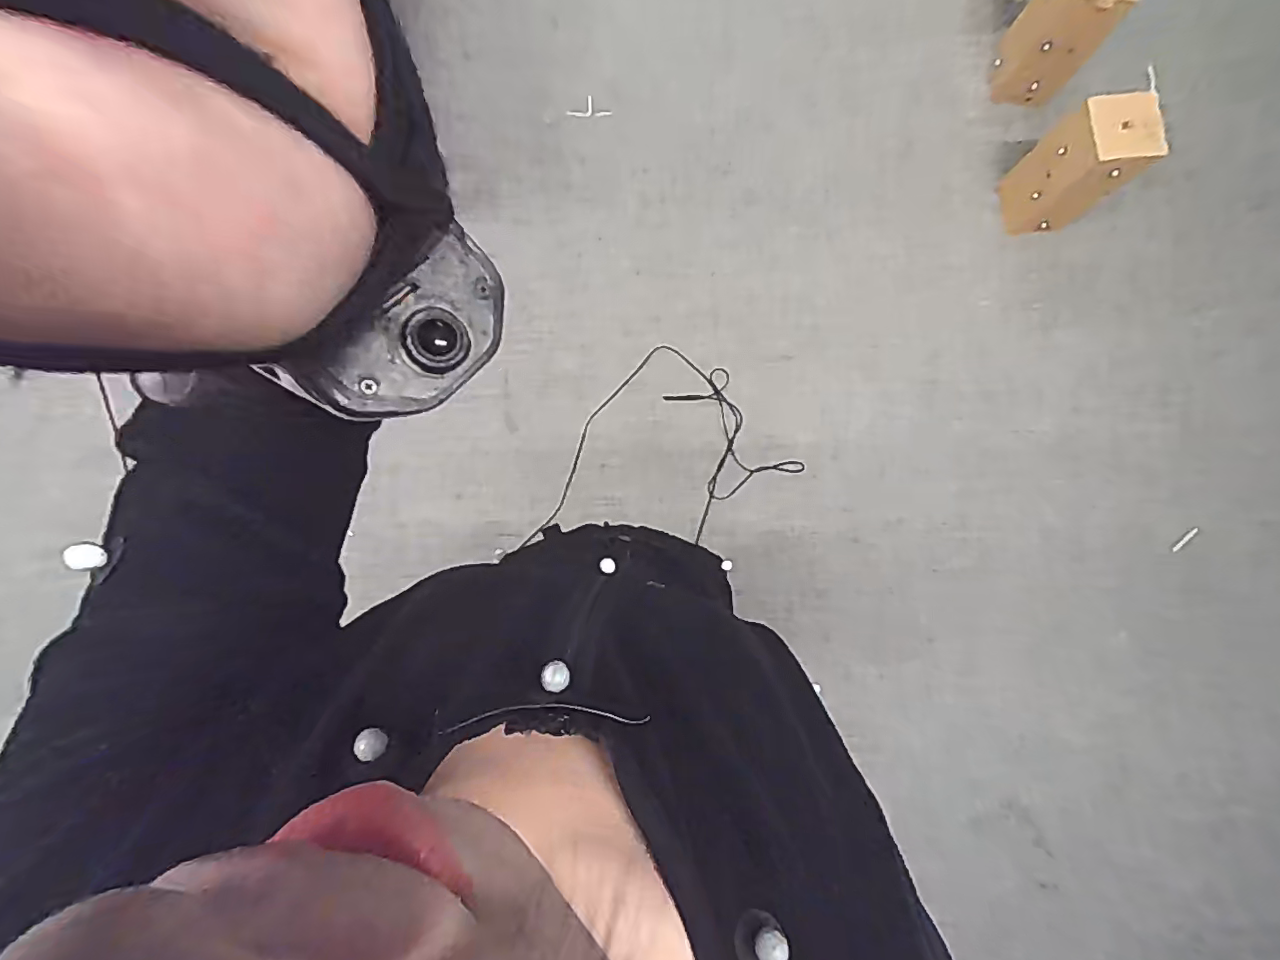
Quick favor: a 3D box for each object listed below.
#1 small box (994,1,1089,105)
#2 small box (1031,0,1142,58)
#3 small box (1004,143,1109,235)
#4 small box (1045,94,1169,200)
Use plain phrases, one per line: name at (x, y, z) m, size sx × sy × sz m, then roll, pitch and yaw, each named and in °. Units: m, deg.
small box at (1.172, -1.242, 1.582) m, size 0.168 × 0.176 × 0.179 m, roll 7°, pitch 85°, yaw 0°
small box at (1.166, -1.259, 1.418) m, size 0.168 × 0.176 × 0.179 m, roll 8°, pitch 83°, yaw 0°
small box at (1.178, -0.830, 1.545) m, size 0.168 × 0.176 × 0.179 m, roll -6°, pitch 85°, yaw -1°
small box at (1.175, -0.841, 1.380) m, size 0.179 × 0.176 × 0.168 m, roll -5°, pitch 86°, yaw -1°
